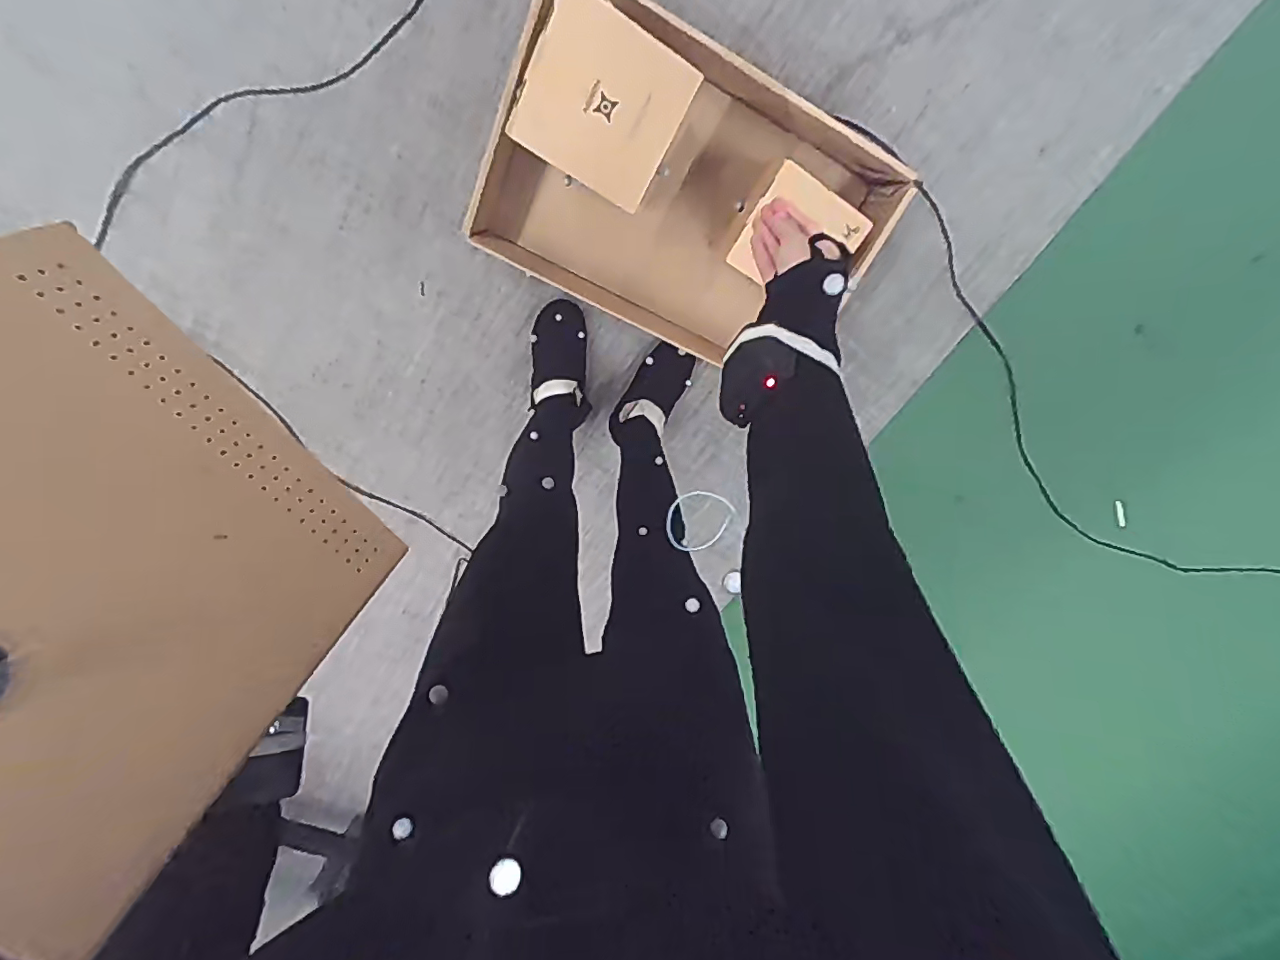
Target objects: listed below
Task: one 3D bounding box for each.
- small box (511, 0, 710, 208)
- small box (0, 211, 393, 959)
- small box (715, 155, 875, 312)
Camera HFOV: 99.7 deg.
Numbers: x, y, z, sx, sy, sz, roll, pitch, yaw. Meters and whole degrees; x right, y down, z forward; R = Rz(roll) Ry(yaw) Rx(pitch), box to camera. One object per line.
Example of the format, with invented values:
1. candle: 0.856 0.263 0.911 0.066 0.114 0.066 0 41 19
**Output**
1. small box: -0.039 -0.472 0.685 0.179 0.176 0.168 27 116 -17
2. small box: -0.238 0.034 0.203 0.168 0.176 0.179 -20 119 28
3. small box: 0.247 -0.412 0.914 0.179 0.176 0.168 28 114 -16
